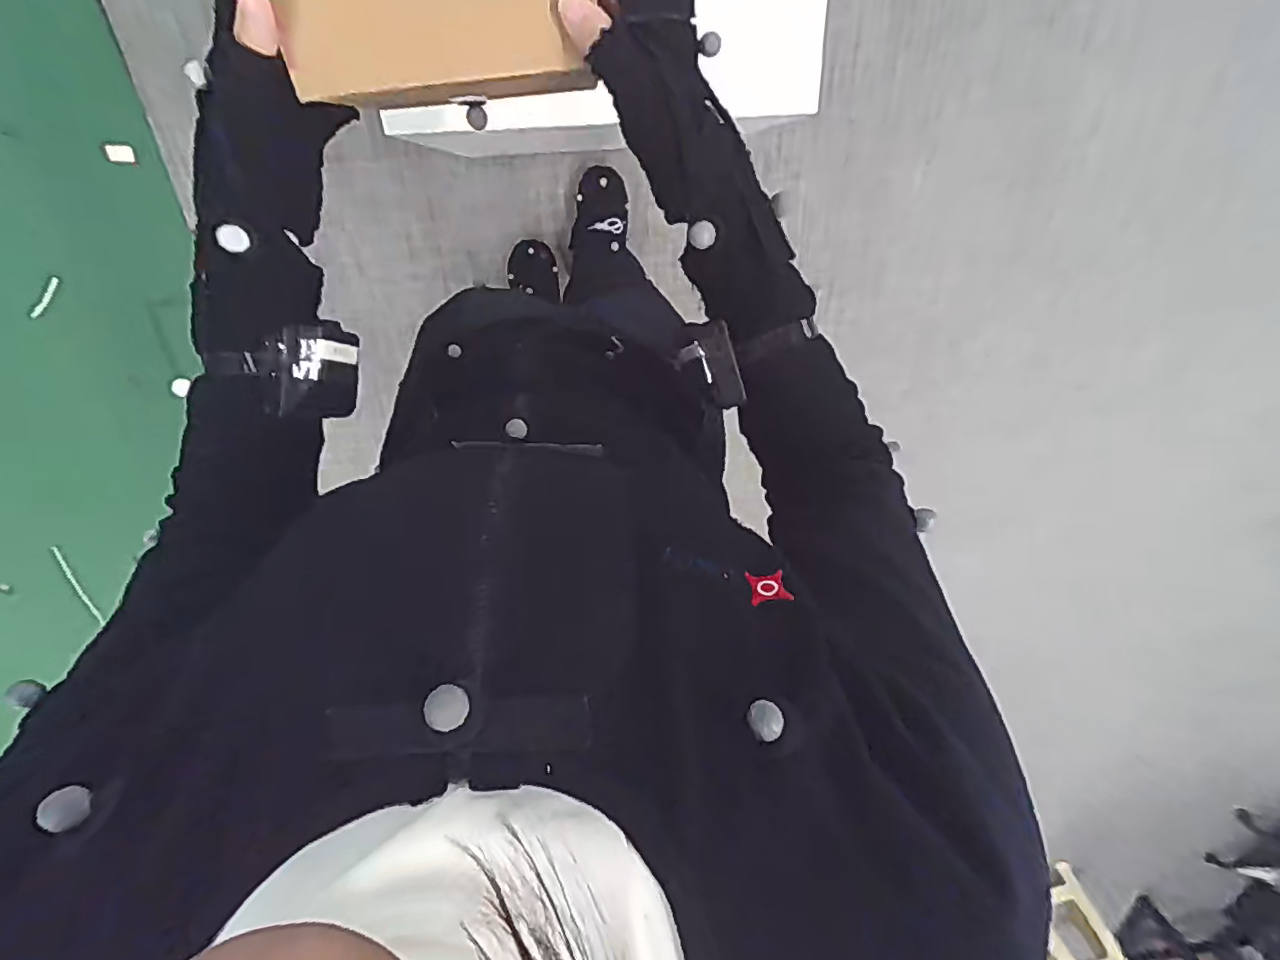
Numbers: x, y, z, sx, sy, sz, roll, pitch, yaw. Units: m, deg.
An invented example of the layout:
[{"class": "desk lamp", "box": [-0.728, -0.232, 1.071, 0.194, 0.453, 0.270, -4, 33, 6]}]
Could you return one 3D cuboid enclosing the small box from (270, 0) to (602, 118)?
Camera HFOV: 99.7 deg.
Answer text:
[{"class": "small box", "box": [-0.116, -0.330, 0.321, 0.168, 0.176, 0.179, -7, 122, 0]}]
